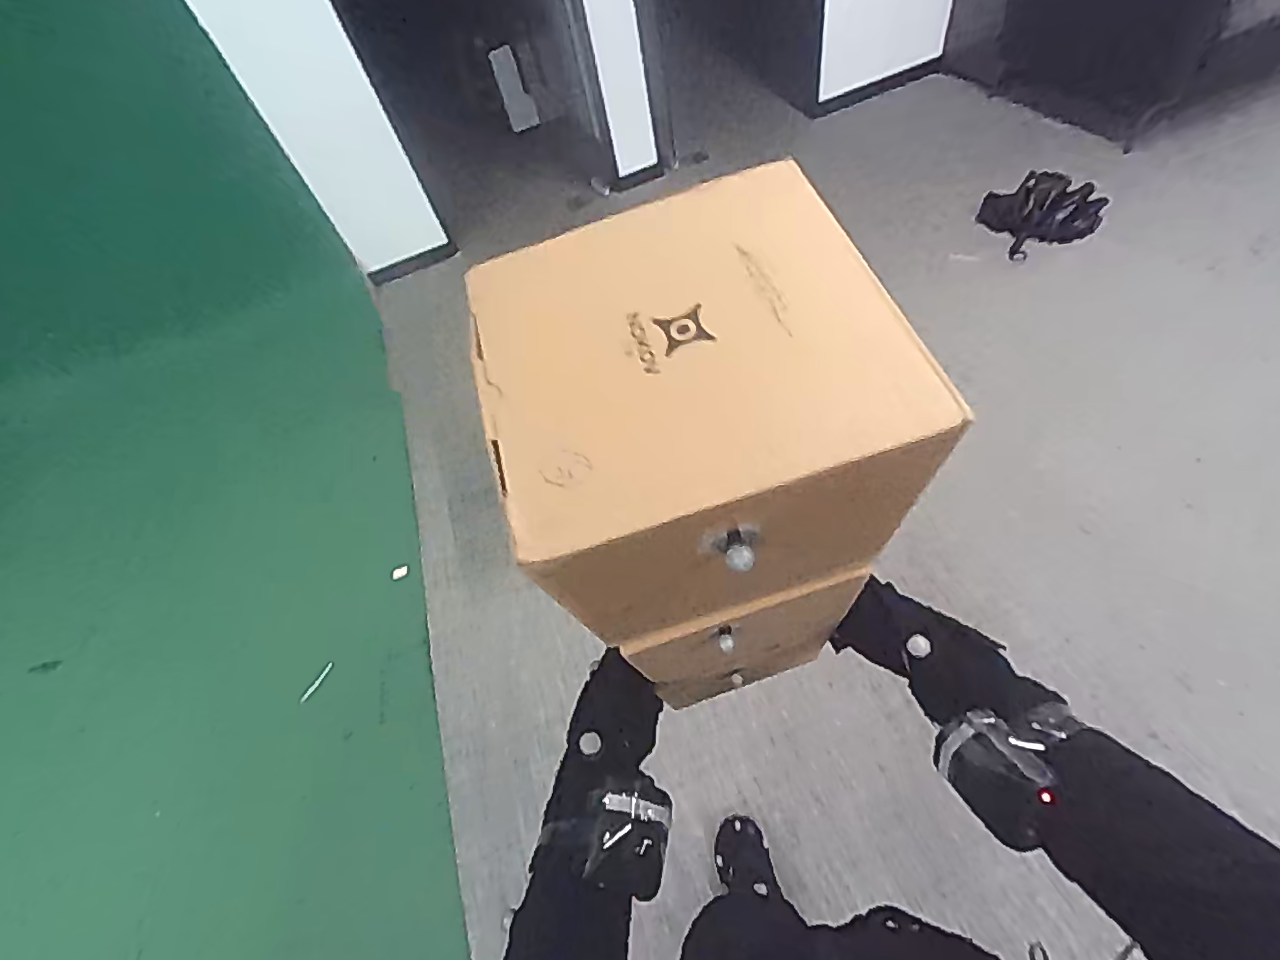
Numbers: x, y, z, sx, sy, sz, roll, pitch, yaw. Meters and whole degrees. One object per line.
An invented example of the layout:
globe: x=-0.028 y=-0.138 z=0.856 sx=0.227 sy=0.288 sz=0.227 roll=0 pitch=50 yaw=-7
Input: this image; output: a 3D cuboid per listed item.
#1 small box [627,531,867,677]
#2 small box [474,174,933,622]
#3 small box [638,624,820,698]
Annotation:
small box: x=0.059 y=0.047 z=0.460 sx=0.168 sy=0.176 sz=0.179 roll=-21 pitch=61 yaw=-1
small box: x=0.027 y=-0.031 z=0.318 sx=0.179 sy=0.176 sz=0.168 roll=-18 pitch=62 yaw=1
small box: x=0.084 y=0.127 z=0.598 sx=0.179 sy=0.176 sz=0.168 roll=-20 pitch=60 yaw=1
